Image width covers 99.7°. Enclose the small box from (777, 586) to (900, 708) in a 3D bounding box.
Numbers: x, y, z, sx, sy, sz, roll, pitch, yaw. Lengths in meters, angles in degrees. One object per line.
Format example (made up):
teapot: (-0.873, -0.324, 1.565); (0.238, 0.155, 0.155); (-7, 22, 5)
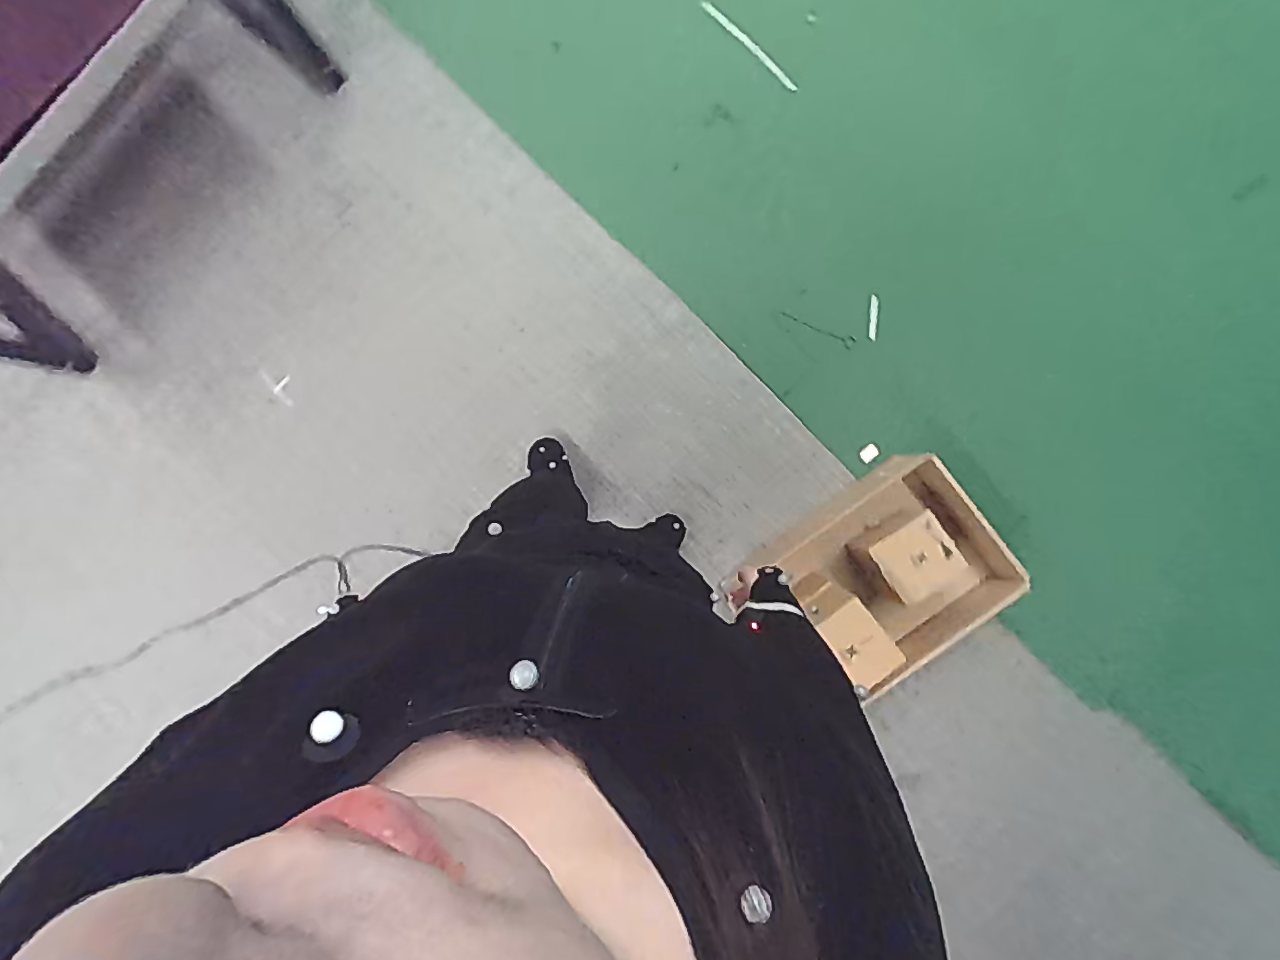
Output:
small box: (0.422, 0.358, 1.191); (0.179, 0.176, 0.168); (-37, 87, 1)
